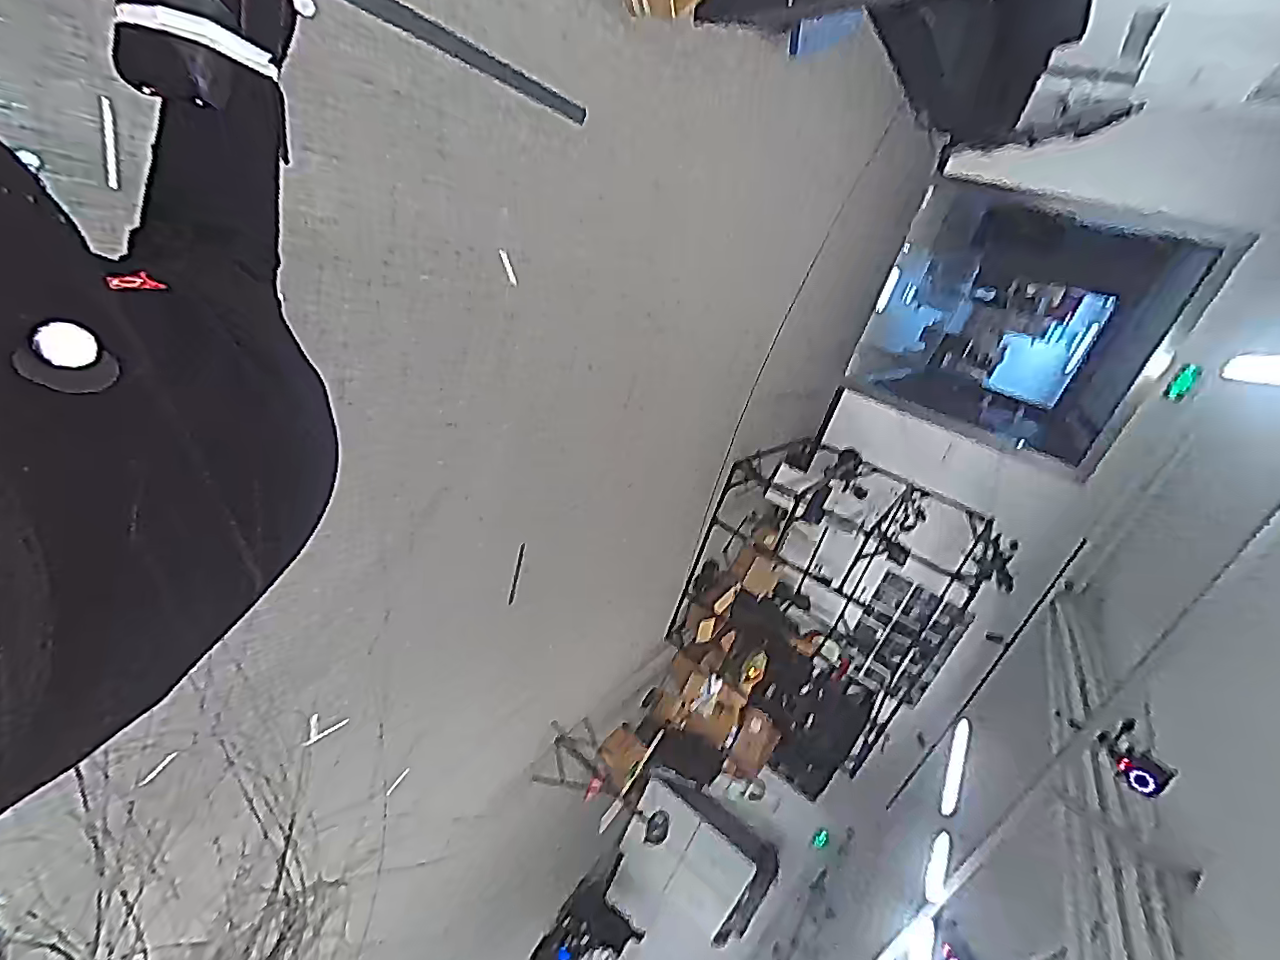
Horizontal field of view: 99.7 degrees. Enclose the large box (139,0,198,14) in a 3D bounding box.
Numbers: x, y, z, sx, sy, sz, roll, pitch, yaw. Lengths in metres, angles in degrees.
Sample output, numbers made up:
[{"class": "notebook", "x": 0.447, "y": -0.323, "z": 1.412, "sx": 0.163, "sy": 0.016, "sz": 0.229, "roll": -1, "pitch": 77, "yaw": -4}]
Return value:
[{"class": "large box", "x": -0.459, "y": -0.490, "z": 0.207, "sx": 0.408, "sy": 0.320, "sz": 0.320, "roll": -8, "pitch": 127, "yaw": -58}]
